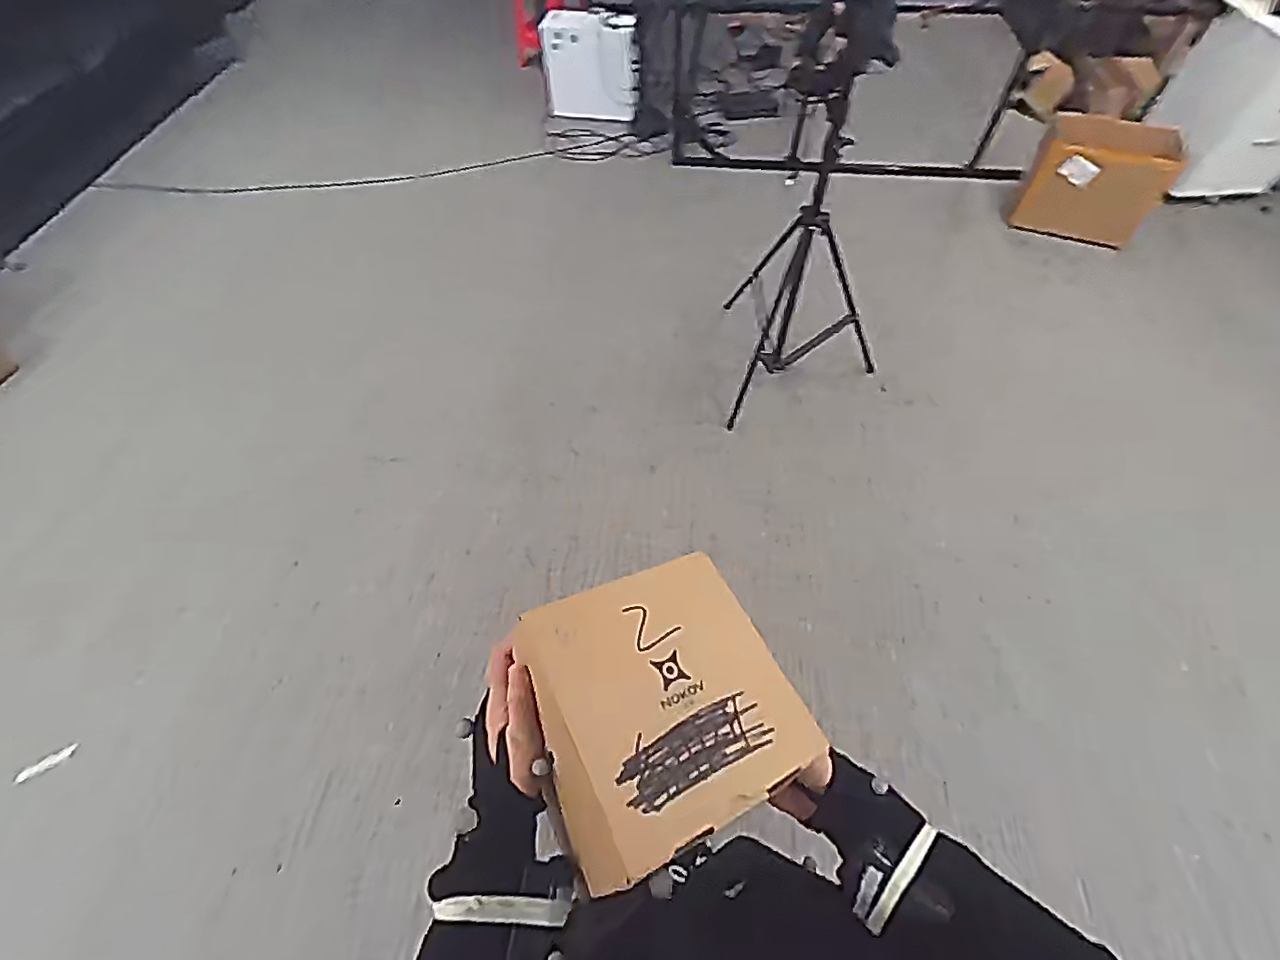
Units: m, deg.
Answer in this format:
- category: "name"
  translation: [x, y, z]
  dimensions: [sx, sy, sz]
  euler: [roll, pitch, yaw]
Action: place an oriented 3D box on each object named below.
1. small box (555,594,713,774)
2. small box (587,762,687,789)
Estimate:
- category: "small box"
  translation: [0.001, 0.264, 0.692]
  dimensions: [0.168, 0.176, 0.179]
  euler: [4, 59, 6]
- category: "small box"
  translation: [0.012, 0.440, 0.966]
  dimensions: [0.168, 0.176, 0.179]
  euler: [7, 59, 7]
